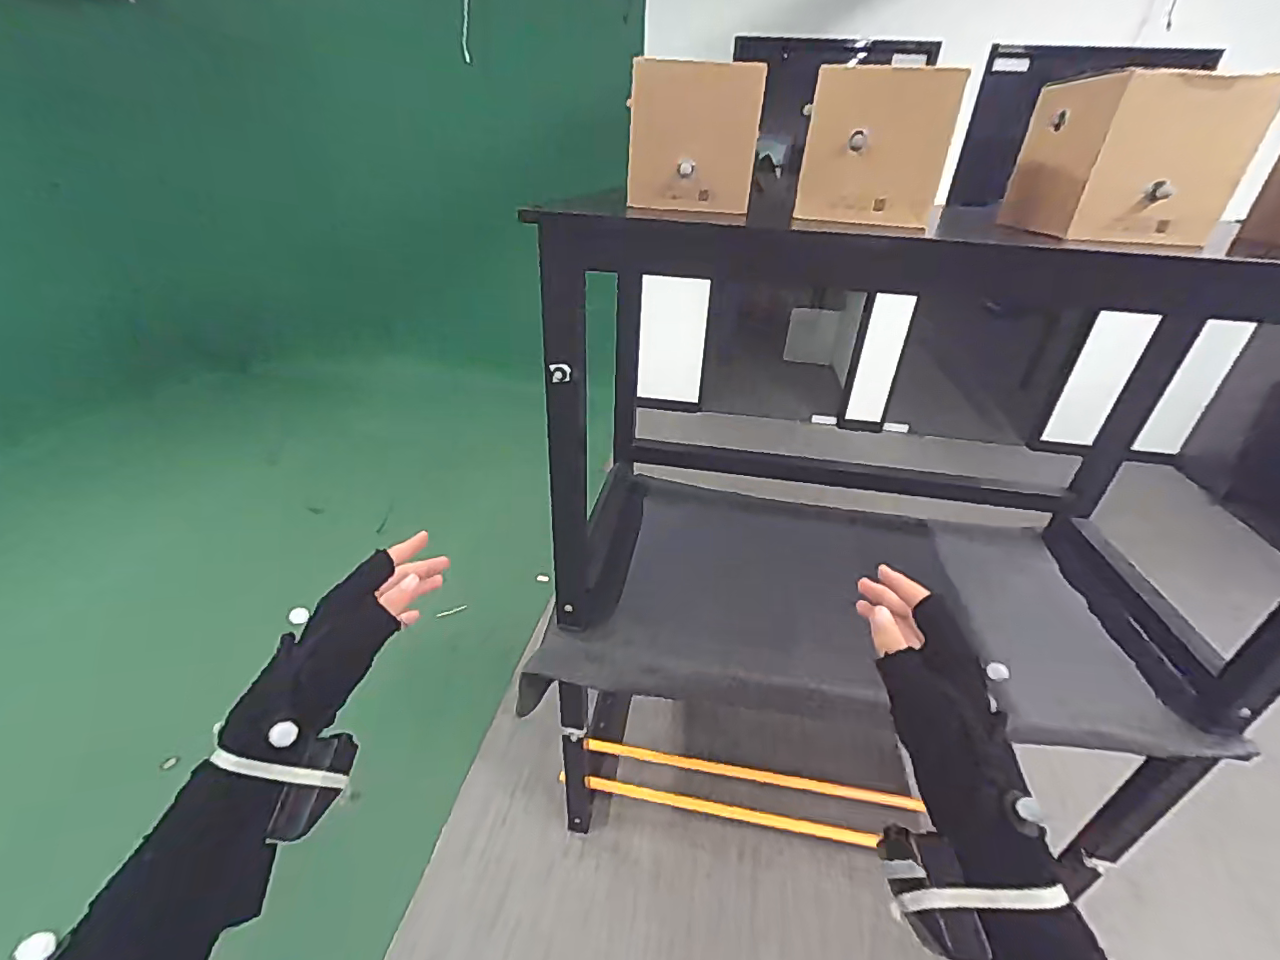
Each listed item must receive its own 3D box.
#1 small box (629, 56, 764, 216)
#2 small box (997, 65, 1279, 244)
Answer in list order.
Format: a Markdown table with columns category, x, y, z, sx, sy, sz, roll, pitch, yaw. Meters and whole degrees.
| category | x | y | z | sx | sy | sz | roll | pitch | yaw |
| --- | --- | --- | --- | --- | --- | --- | --- | --- | --- |
| small box | 0.073 | -0.486 | 0.777 | 0.168 | 0.176 | 0.179 | 4 | 31 | 1 |
| small box | 0.596 | -0.404 | 0.683 | 0.168 | 0.176 | 0.179 | 4 | 31 | 3 |
